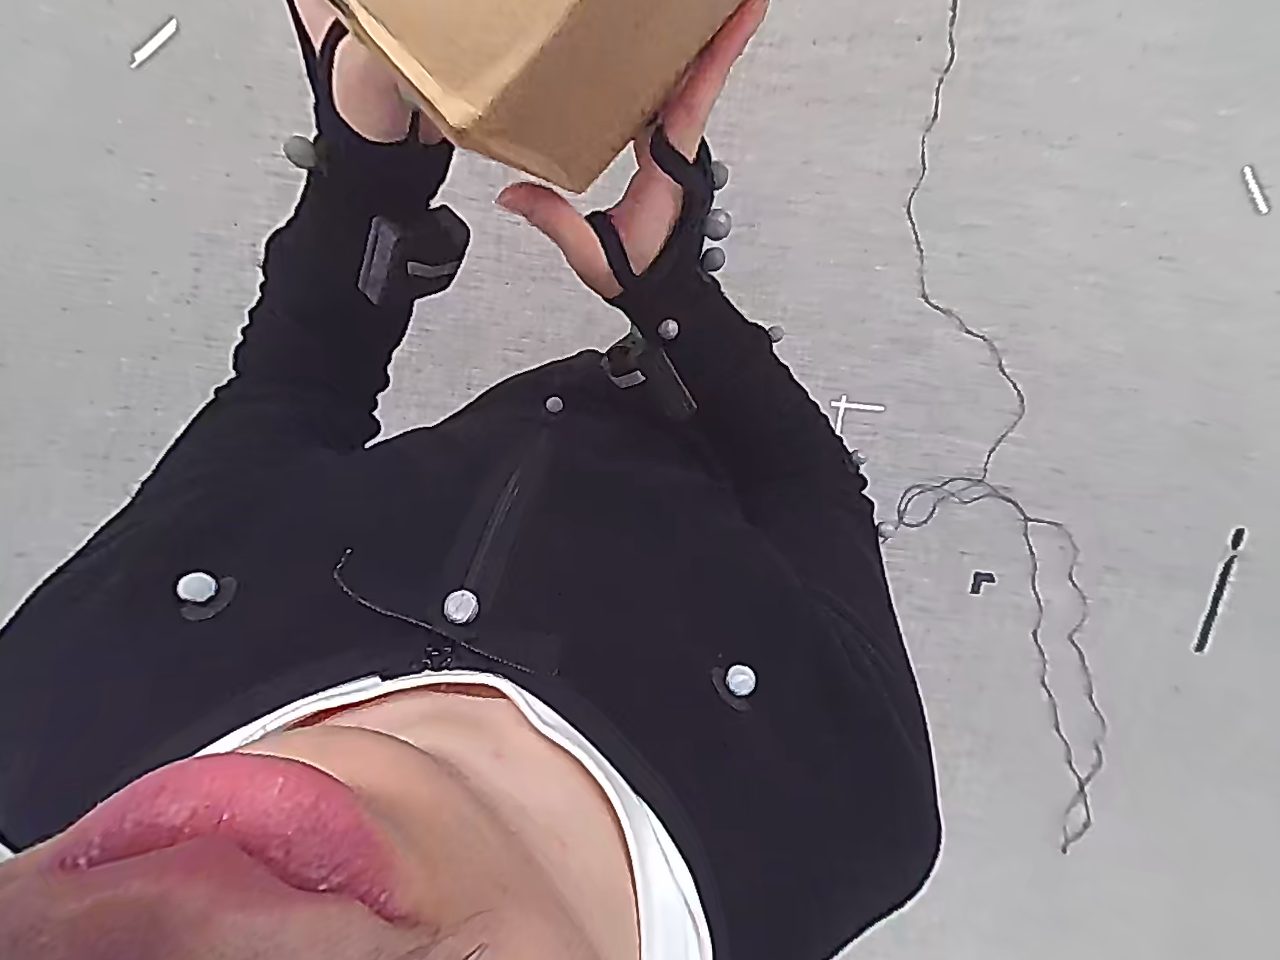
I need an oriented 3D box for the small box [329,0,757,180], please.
[{"bbox_3d":[-0.027,-0.220,0.158,0.179,0.176,0.168,-39,107,18],"label":"small box"}]
